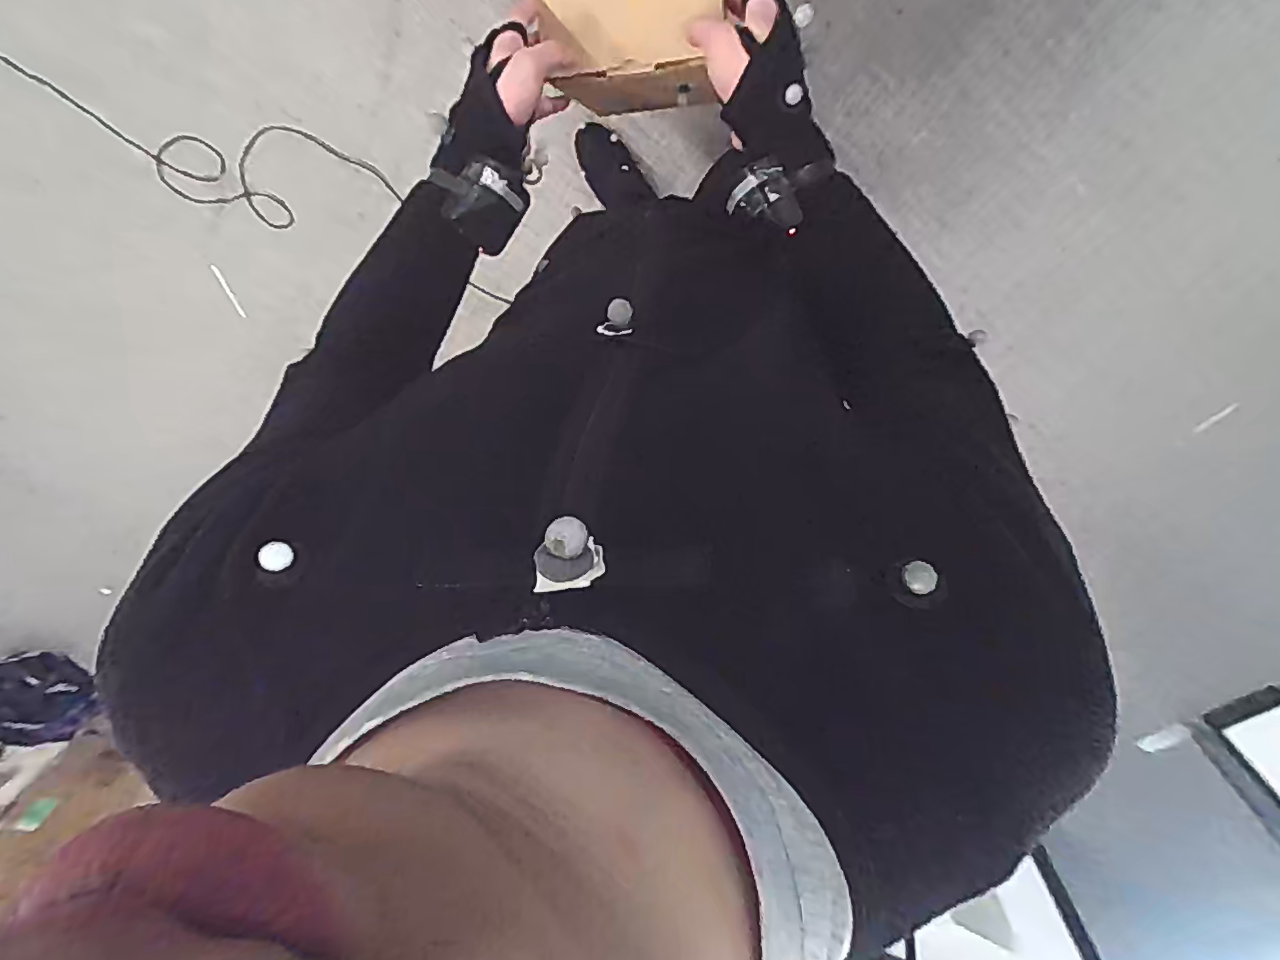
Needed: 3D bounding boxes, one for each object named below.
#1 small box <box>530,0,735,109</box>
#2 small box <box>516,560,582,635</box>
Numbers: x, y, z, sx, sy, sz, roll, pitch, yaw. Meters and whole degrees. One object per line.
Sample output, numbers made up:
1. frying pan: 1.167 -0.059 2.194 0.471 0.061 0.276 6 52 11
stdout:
1. small box: 0.002 -0.474 0.514 0.168 0.176 0.179 3 113 14
2. small box: -0.327 0.429 1.984 0.168 0.176 0.179 32 120 -17
